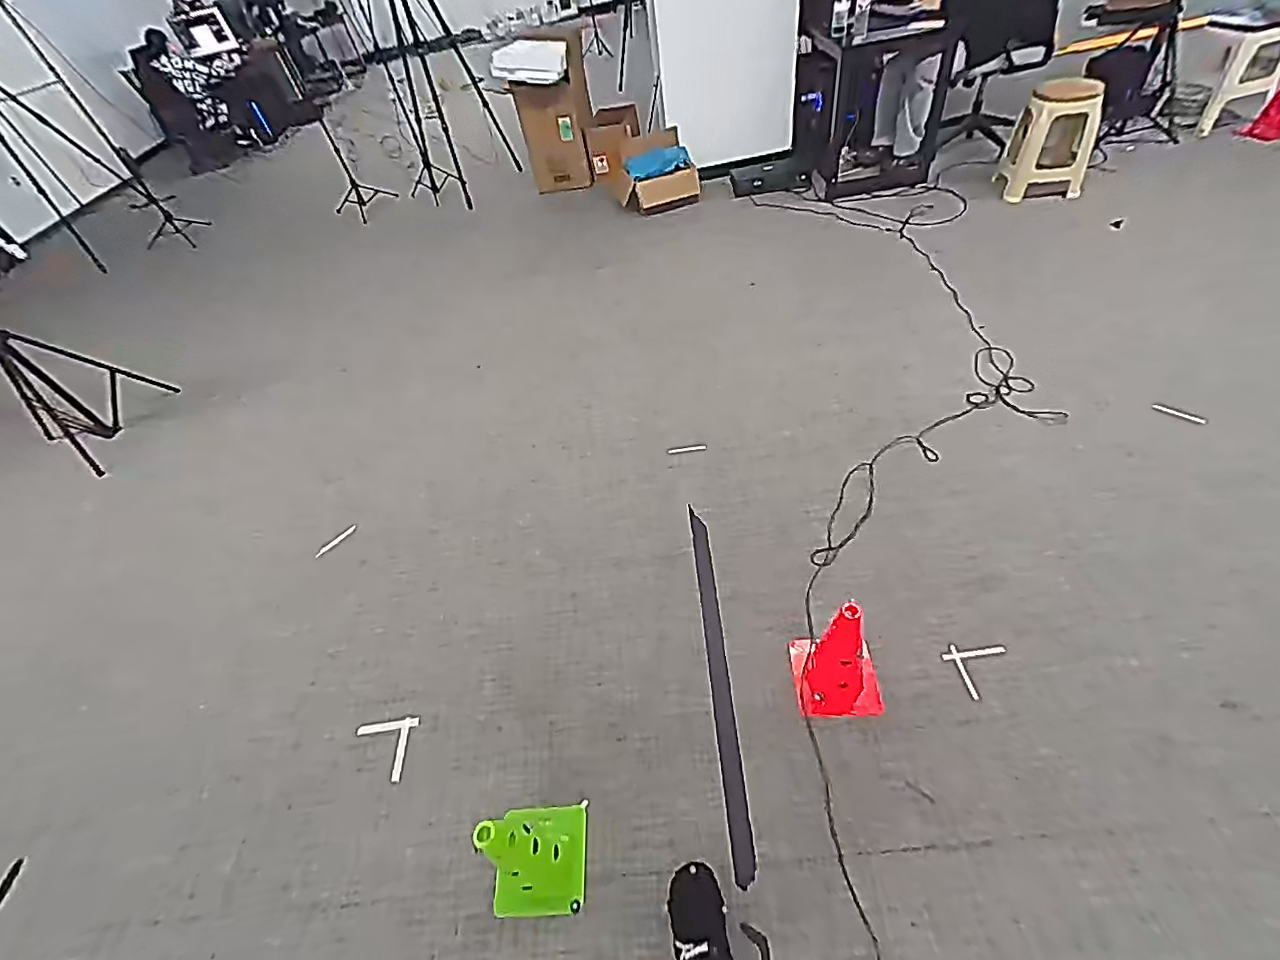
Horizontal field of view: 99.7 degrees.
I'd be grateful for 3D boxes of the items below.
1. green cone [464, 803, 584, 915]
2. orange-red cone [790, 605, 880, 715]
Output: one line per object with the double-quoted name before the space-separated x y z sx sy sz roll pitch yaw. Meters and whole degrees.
"green cone" -0.255 0.728 1.083 0.202 0.368 0.200 -8 47 6
"orange-red cone" 0.465 0.386 1.246 0.199 0.360 0.198 -3 49 8
